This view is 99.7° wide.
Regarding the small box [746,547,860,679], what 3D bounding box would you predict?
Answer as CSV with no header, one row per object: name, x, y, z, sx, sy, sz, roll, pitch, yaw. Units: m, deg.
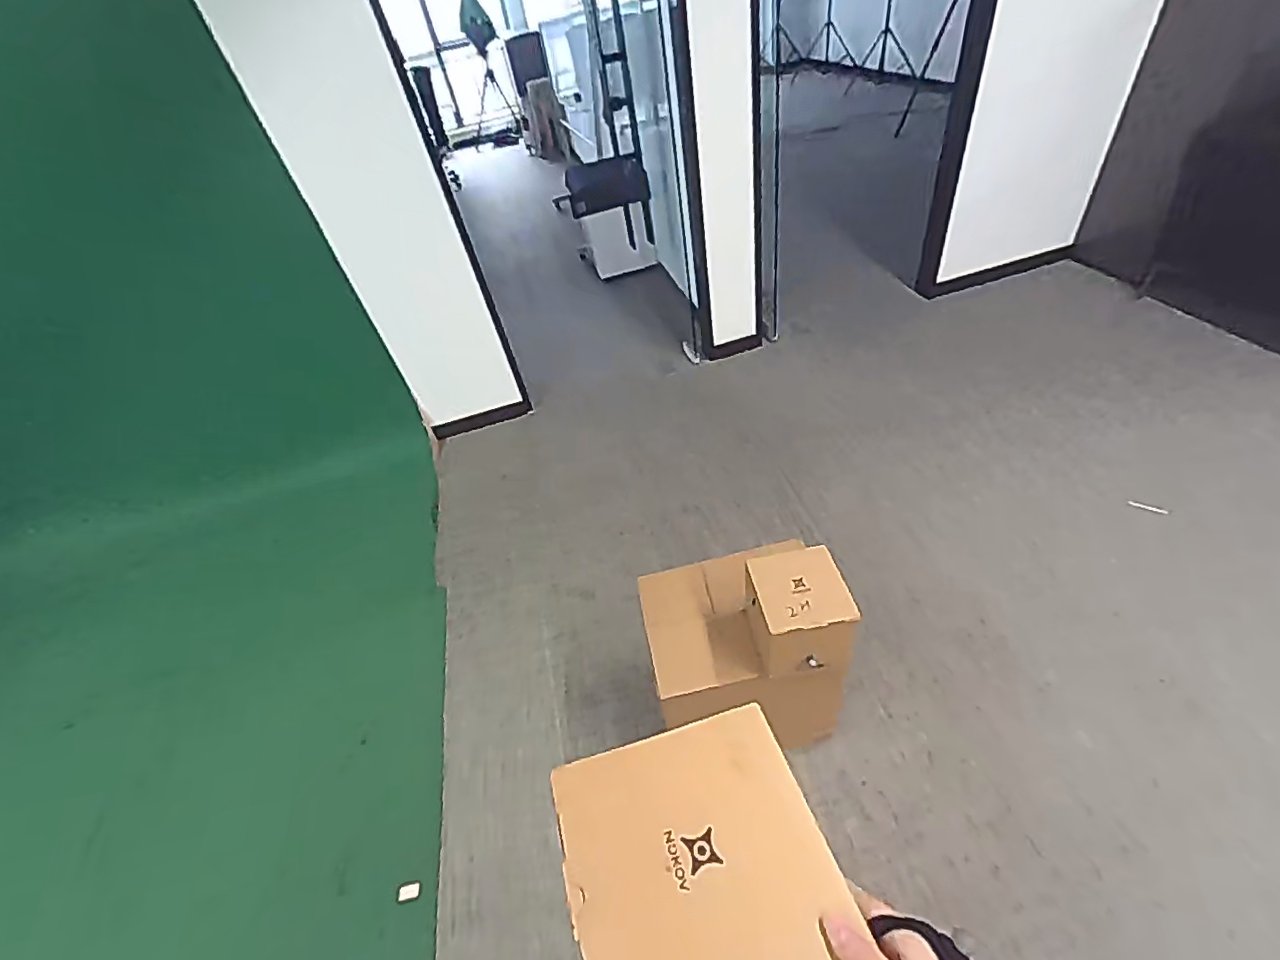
small box,0.310,0.262,1.067,0.168,0.176,0.179,-11,42,1

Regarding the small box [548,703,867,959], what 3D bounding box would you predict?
small box,0.039,0.312,0.423,0.179,0.176,0.168,-15,42,-10
